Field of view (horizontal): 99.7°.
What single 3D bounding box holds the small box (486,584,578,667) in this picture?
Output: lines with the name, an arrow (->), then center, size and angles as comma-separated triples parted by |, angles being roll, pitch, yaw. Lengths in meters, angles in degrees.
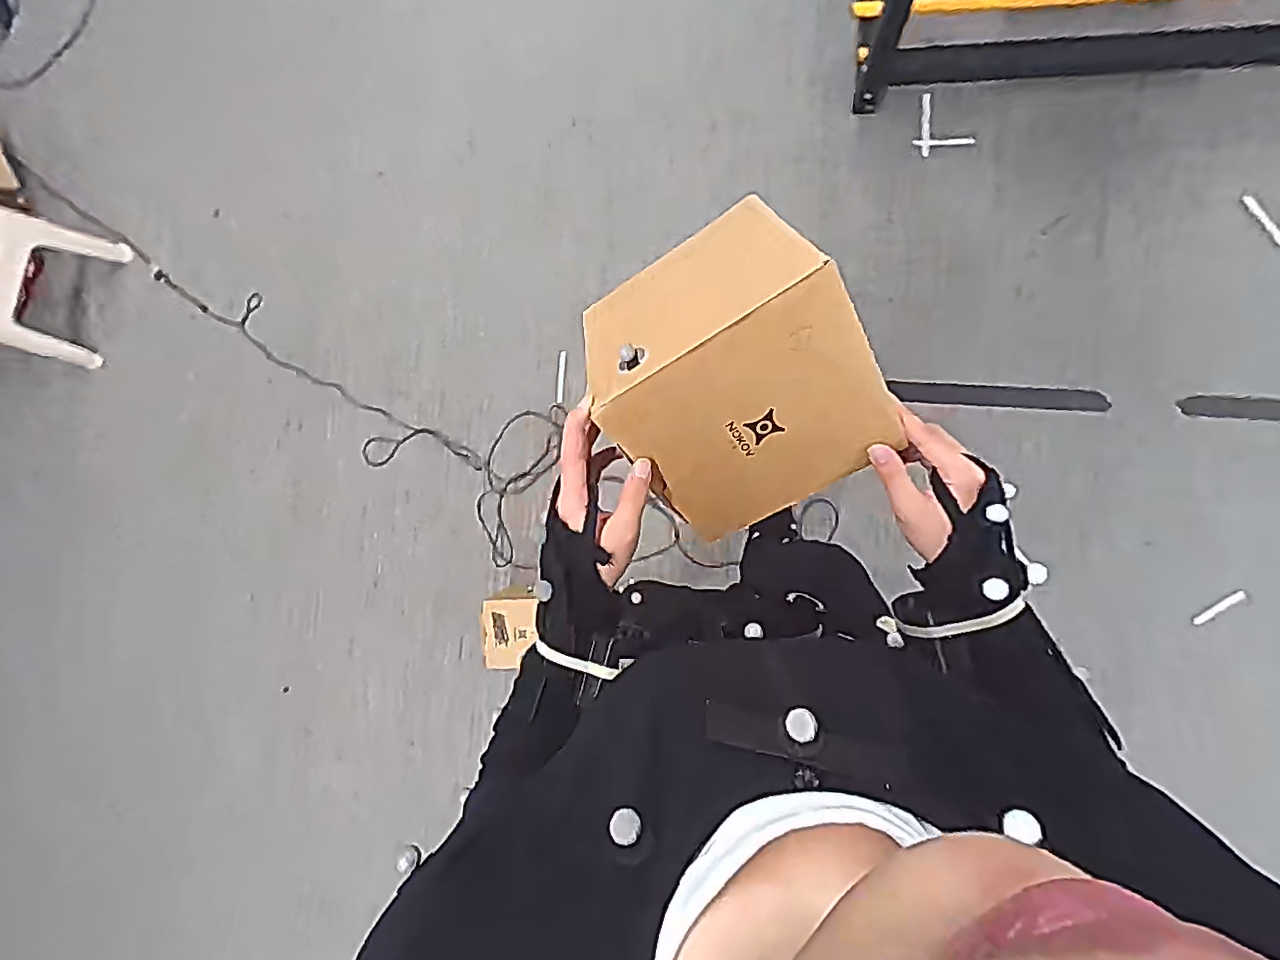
small box -> -0.266, 0.360, 1.356 | 0.179, 0.176, 0.168 | -4, 90, 8

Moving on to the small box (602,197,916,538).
small box -> 0.082, -0.091, 0.436 | 0.179, 0.176, 0.168 | -29, 128, 18
